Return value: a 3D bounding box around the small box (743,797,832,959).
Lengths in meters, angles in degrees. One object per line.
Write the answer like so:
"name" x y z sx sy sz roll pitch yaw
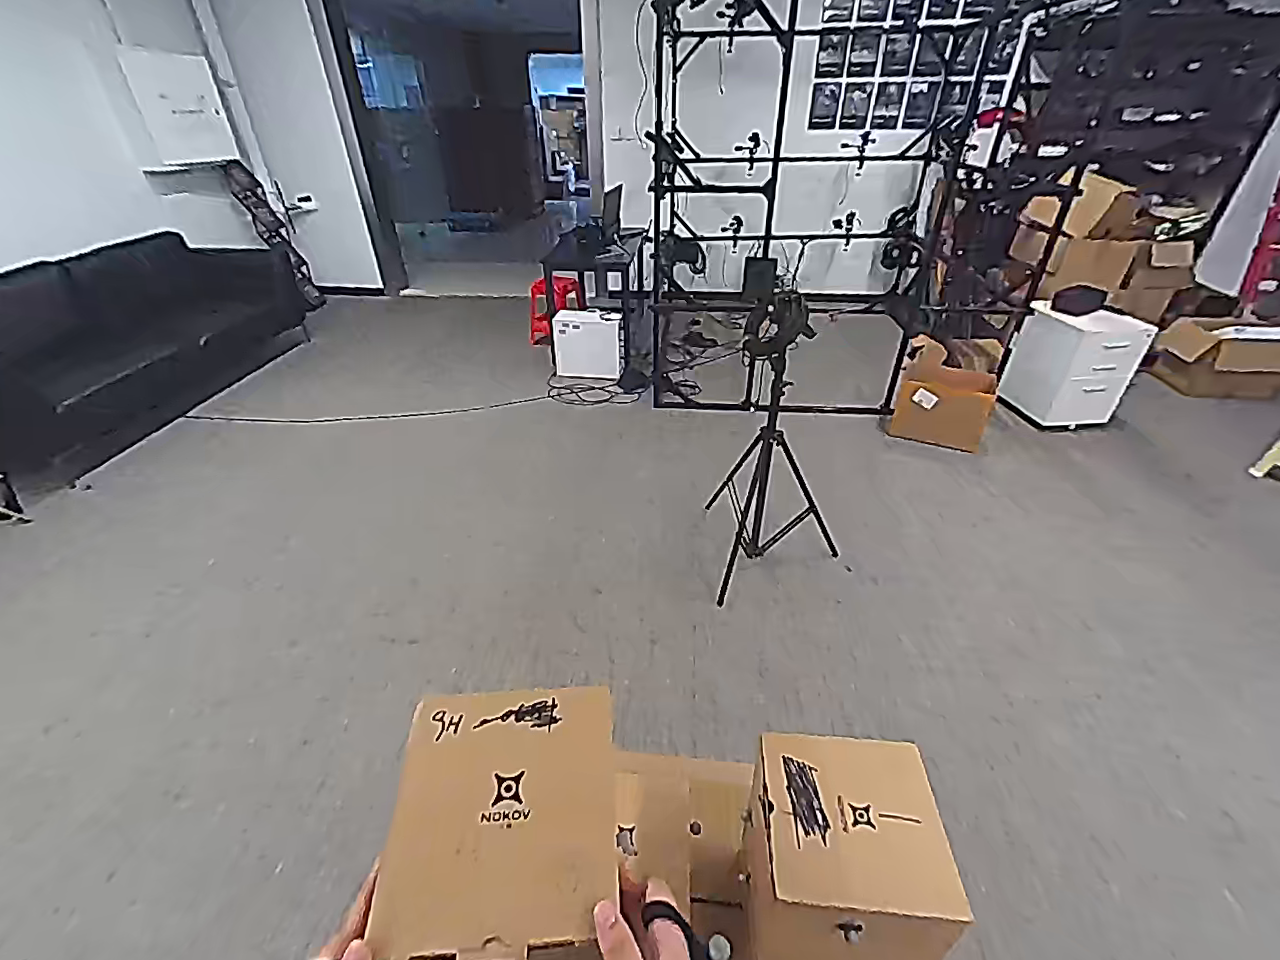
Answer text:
"small box" 0.222 0.542 0.692 0.168 0.176 0.179 1 35 7

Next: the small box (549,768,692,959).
"small box" -0.018 0.522 0.724 0.168 0.176 0.179 3 34 4

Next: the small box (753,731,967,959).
"small box" 0.219 0.406 0.599 0.179 0.176 0.168 2 34 6
